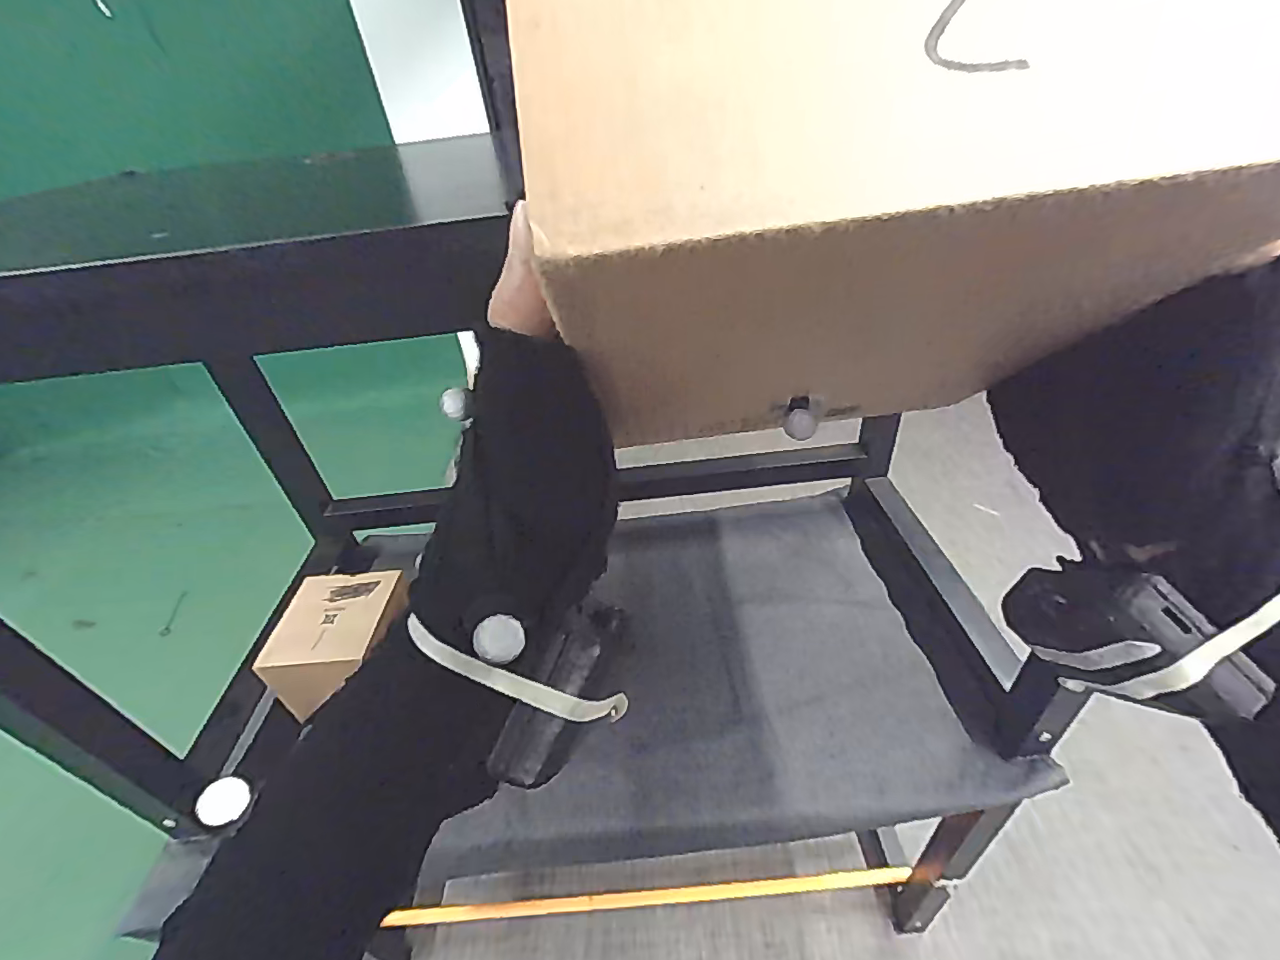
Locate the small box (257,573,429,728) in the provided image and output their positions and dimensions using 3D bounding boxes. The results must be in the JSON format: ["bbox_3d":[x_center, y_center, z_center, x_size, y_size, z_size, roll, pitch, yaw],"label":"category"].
[{"bbox_3d":[-0.466,0.277,0.886,0.168,0.176,0.179,-6,38,2],"label":"small box"}]

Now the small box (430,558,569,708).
[{"bbox_3d":[-0.214,0.253,0.881,0.168,0.176,0.179,-5,37,2],"label":"small box"}]
